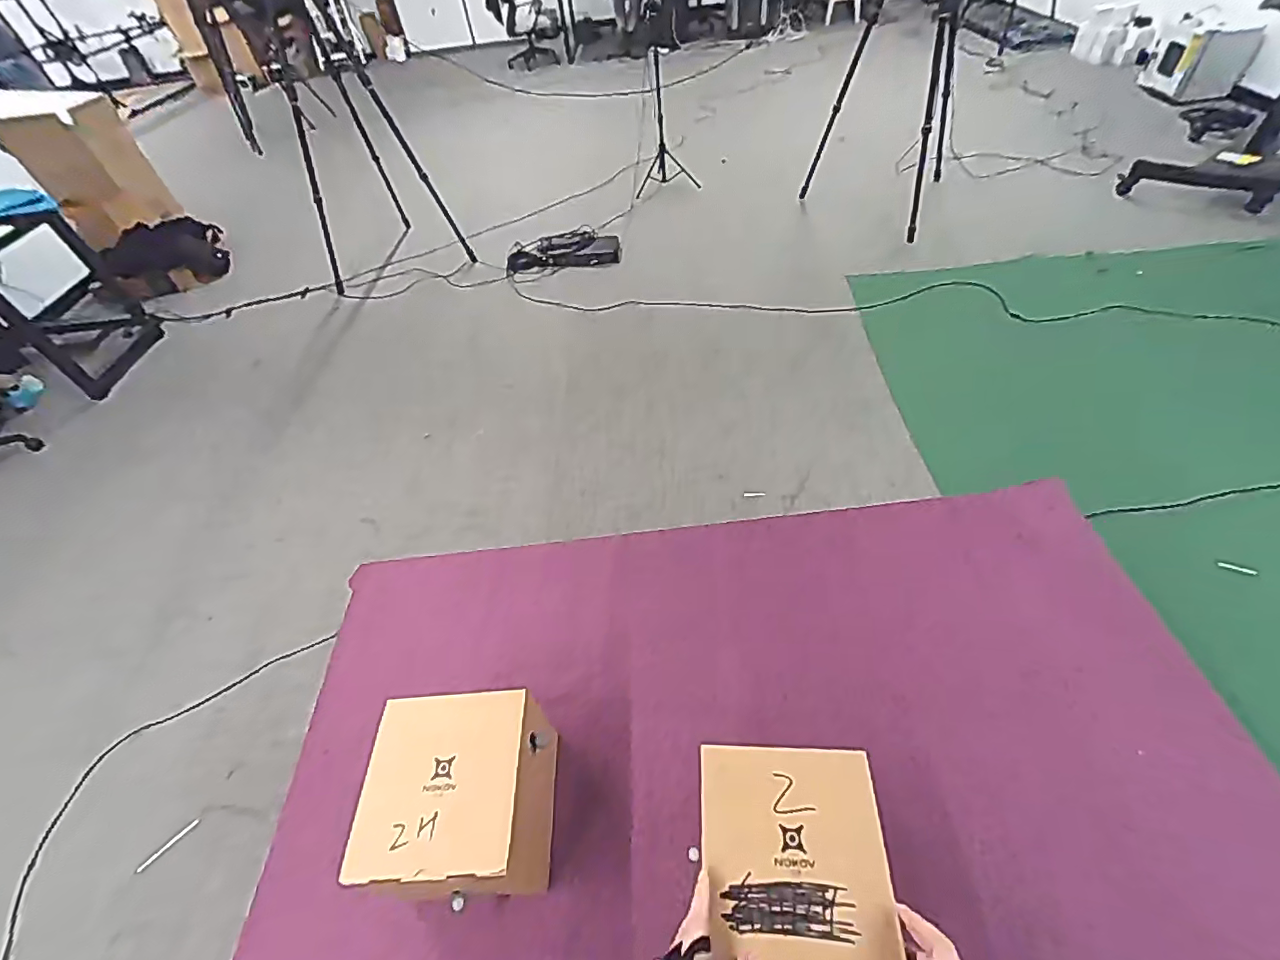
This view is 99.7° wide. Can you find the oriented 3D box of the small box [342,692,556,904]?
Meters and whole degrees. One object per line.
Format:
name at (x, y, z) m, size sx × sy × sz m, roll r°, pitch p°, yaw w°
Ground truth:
small box at (-0.196, 0.366, 0.620) m, size 0.168 × 0.176 × 0.179 m, roll -6°, pitch 48°, yaw 3°
